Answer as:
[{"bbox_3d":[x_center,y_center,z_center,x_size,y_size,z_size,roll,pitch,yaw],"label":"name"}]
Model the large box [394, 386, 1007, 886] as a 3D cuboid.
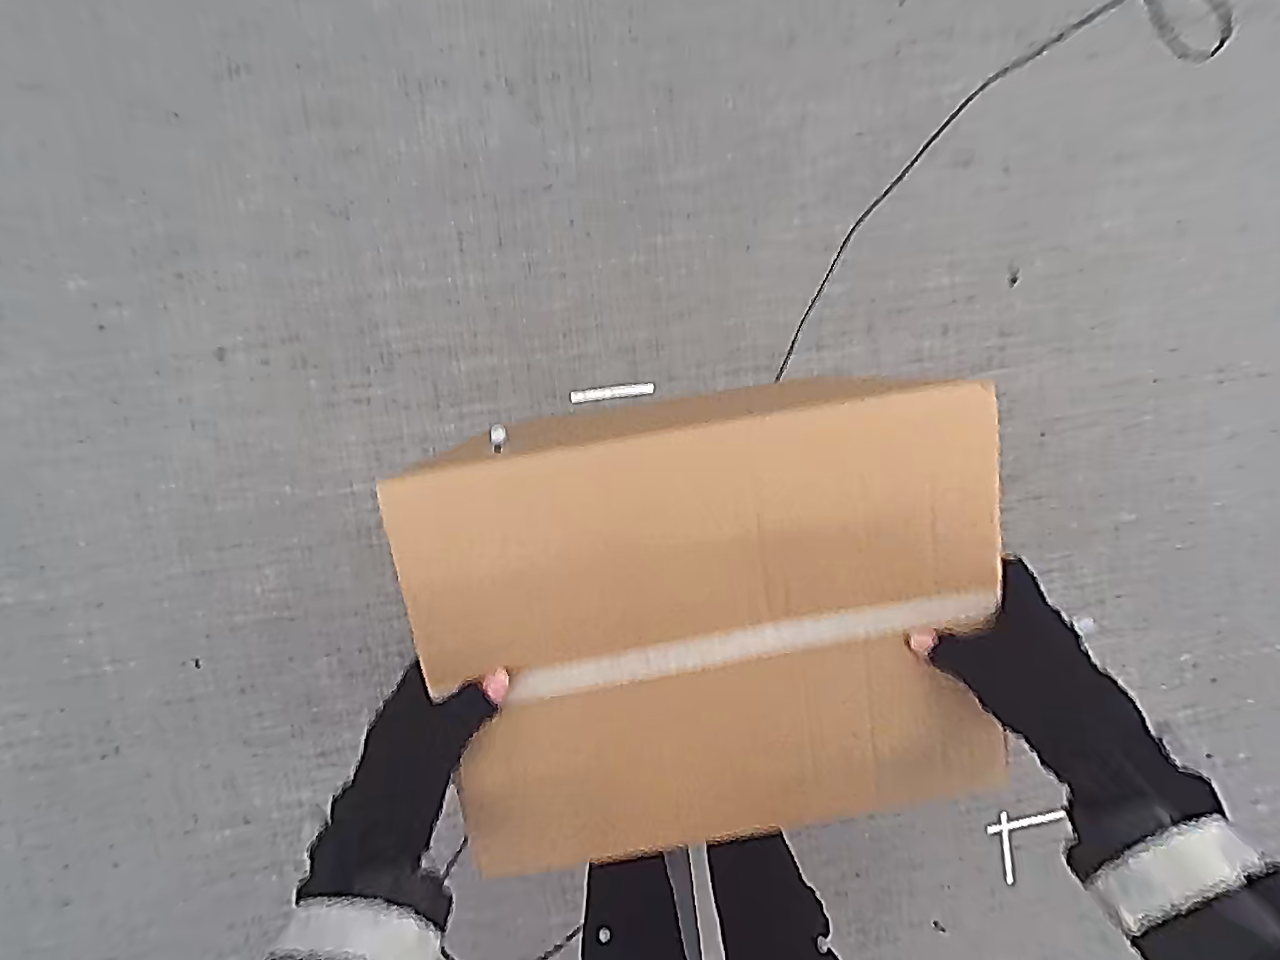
[{"bbox_3d":[0.052,0.096,0.523,0.408,0.320,0.320,-9,103,-1],"label":"large box"}]
